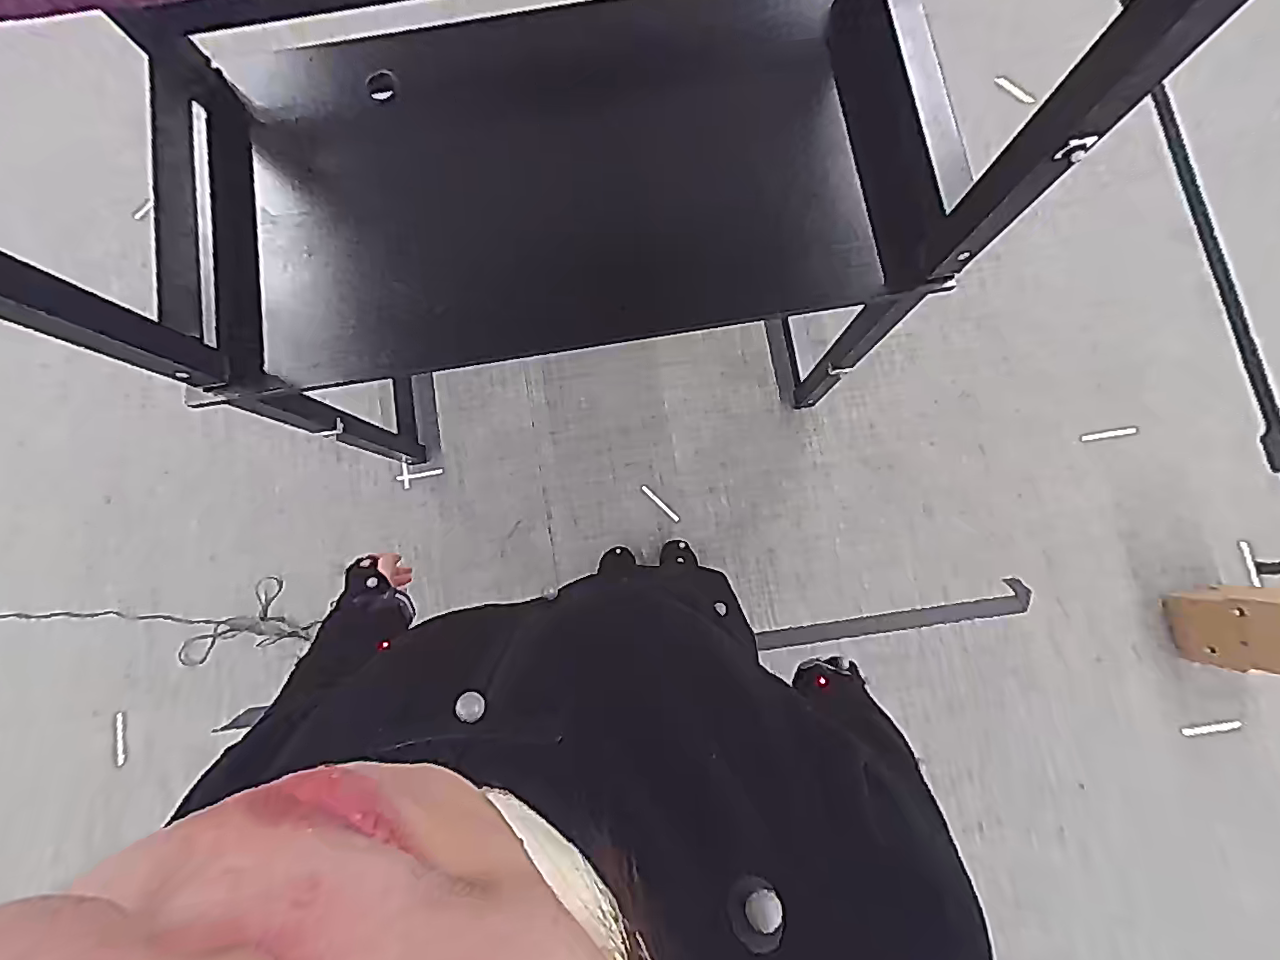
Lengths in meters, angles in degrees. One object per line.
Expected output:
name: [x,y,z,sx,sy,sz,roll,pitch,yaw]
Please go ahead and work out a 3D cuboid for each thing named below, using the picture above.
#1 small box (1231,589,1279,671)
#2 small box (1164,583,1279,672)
small box: [1.479,0.335,1.195,0.179,0.176,0.168,-8,84,0]
small box: [1.488,0.363,1.356,0.168,0.176,0.179,-11,83,0]
